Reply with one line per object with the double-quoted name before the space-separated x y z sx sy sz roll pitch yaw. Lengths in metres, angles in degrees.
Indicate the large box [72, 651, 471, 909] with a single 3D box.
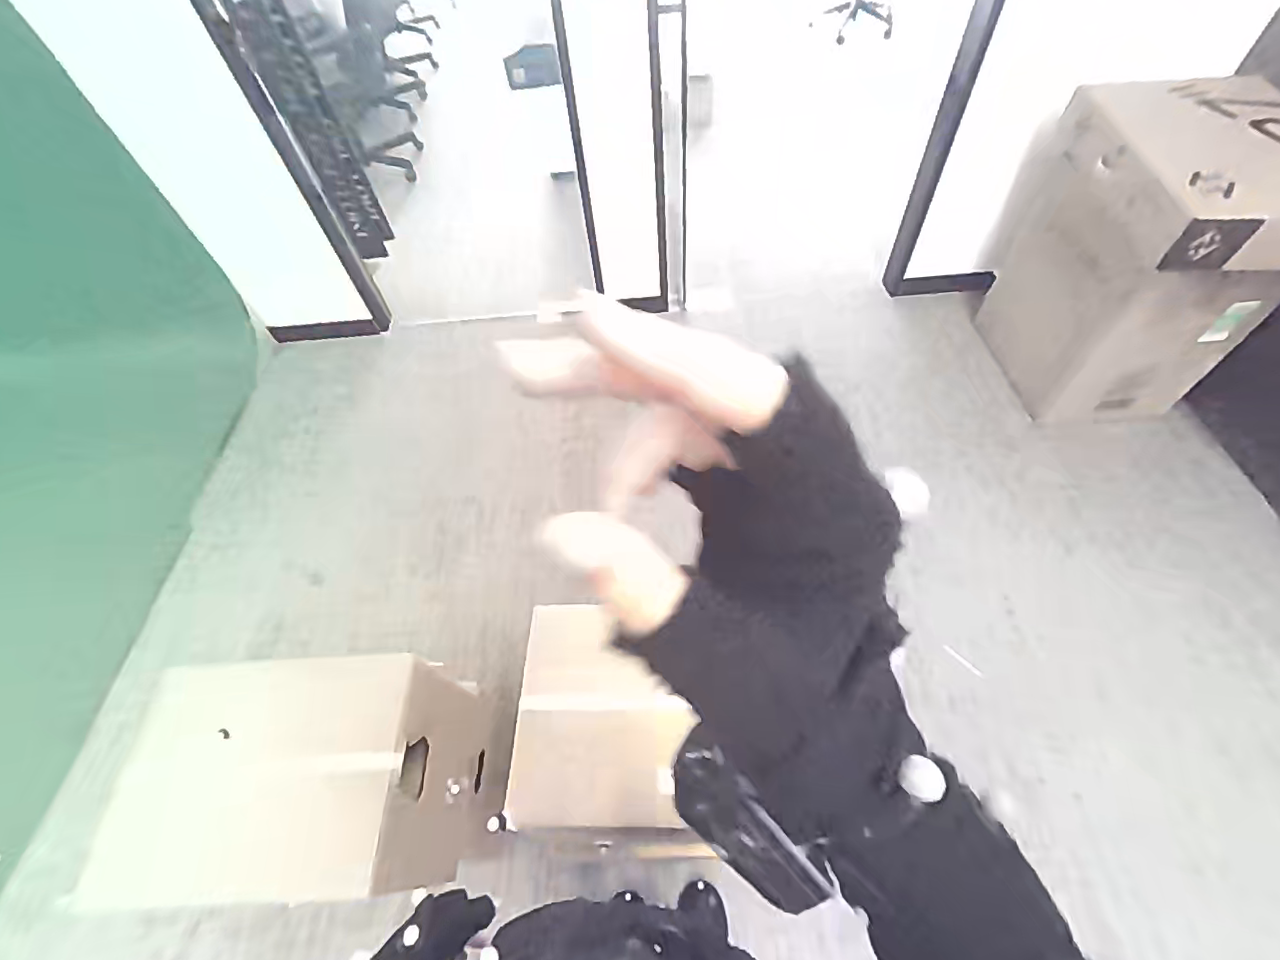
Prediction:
"large box" -0.539 0.492 0.901 0.408 0.320 0.320 -4 57 3
